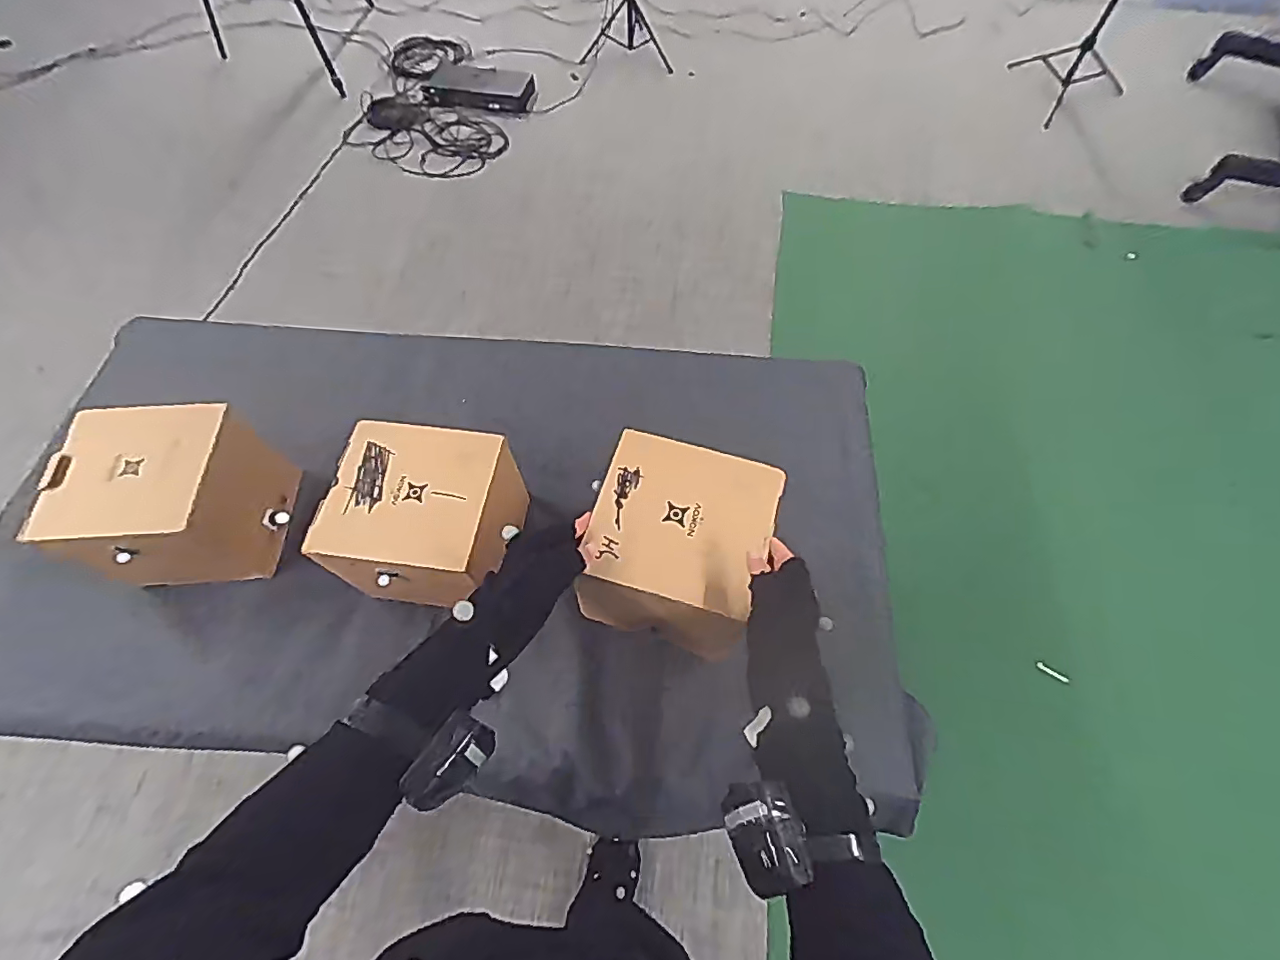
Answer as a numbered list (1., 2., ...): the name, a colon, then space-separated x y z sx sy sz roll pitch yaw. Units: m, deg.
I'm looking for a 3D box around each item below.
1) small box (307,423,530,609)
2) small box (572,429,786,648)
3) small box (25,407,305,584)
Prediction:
1. small box: -0.248 0.051 0.656 0.179 0.176 0.168 6 63 3
2. small box: 0.040 0.074 0.593 0.179 0.176 0.168 15 63 6
3. small box: -0.564 0.027 0.674 0.179 0.176 0.168 -4 64 -3
